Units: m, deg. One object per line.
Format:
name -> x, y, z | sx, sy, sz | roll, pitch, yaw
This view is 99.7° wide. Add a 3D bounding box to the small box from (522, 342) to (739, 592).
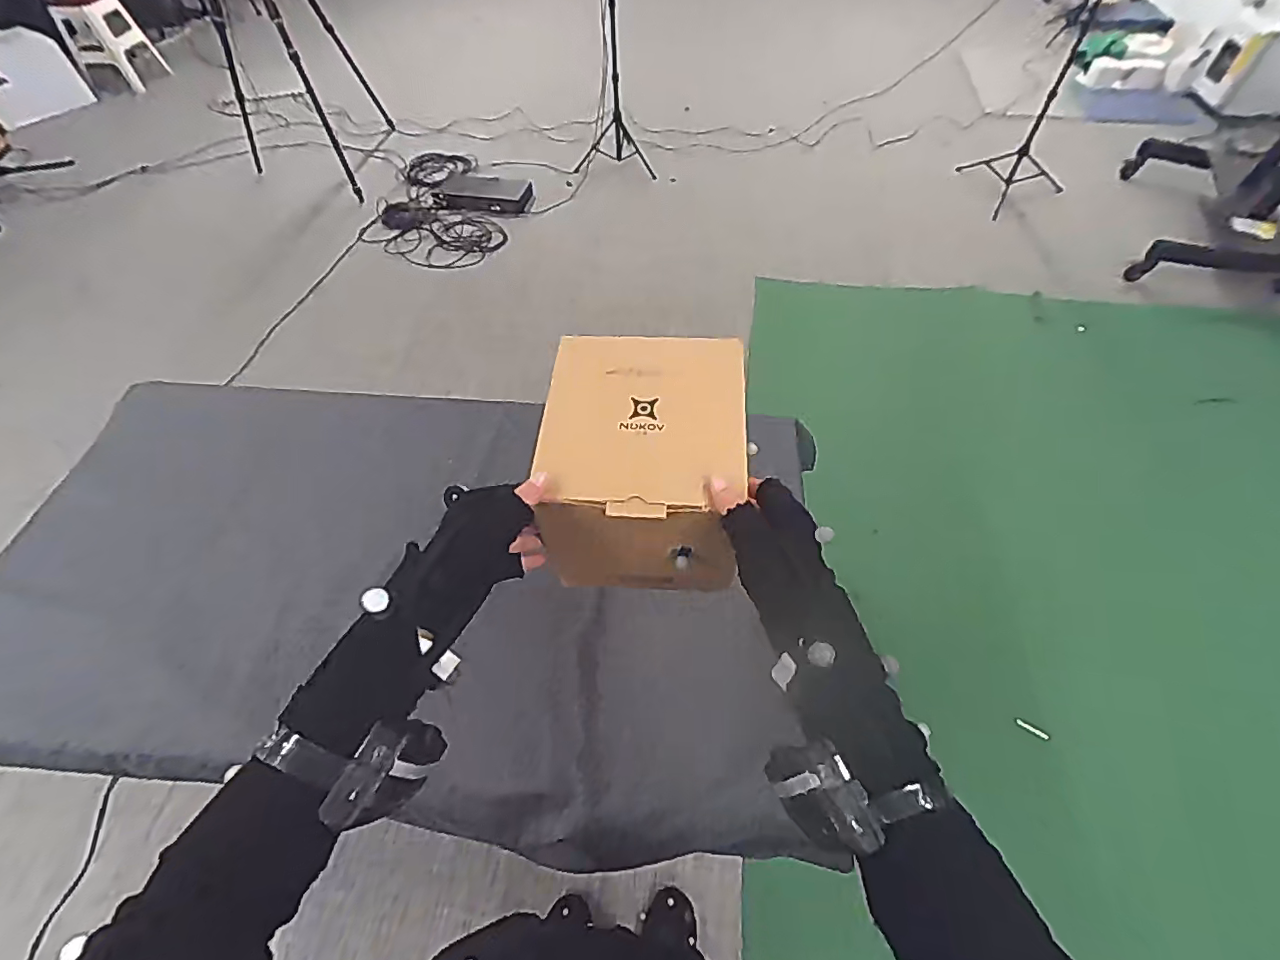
small box -> 0.000, -0.006, 0.507 | 0.168, 0.176, 0.179 | 2, 56, 3
